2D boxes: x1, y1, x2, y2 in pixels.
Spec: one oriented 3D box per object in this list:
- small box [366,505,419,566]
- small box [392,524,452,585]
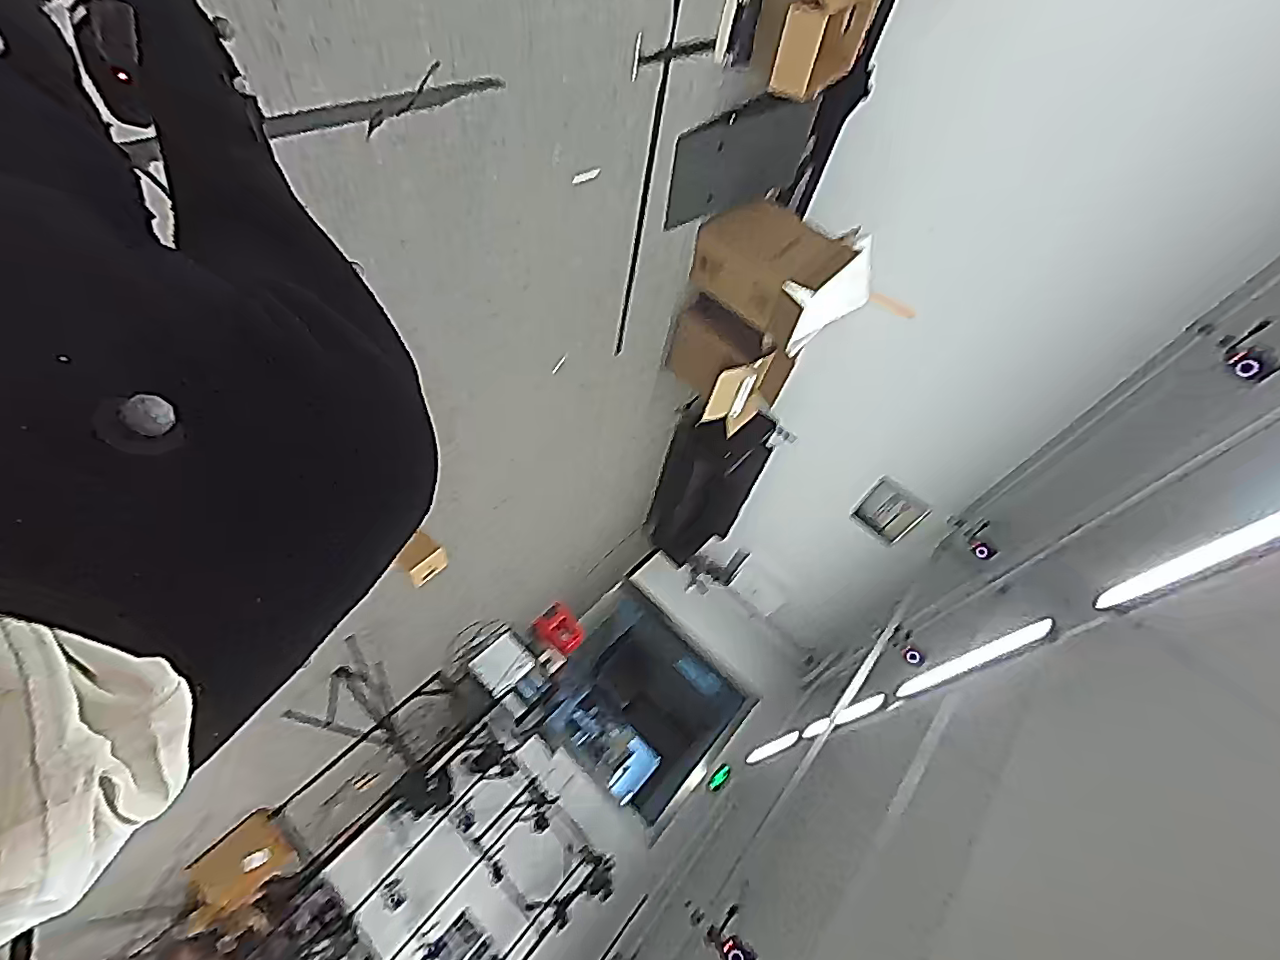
[{"bbox_3d":[-1.088,0.245,2.427,0.179,0.176,0.168,-42,162,-26],"label":"small box"},{"bbox_3d":[-0.954,0.324,2.368,0.168,0.176,0.179,-42,161,-30],"label":"small box"}]
